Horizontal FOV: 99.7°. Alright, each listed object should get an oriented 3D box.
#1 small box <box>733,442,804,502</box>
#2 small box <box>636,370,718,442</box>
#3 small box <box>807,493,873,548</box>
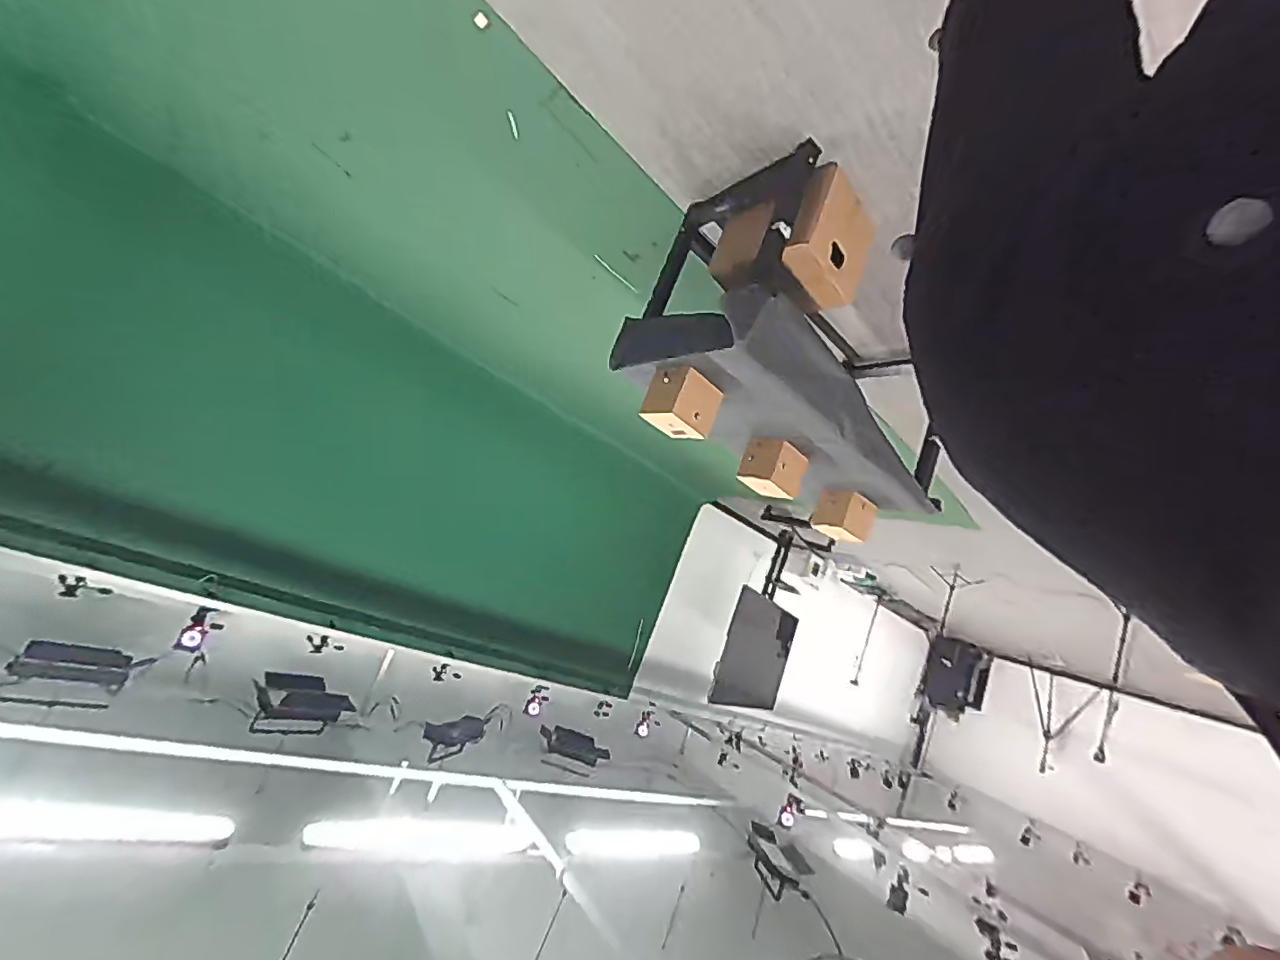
[{"bbox_3d":[0.486,-0.033,2.029,0.179,0.176,0.168,30,167,-37],"label":"small box"},{"bbox_3d":[0.124,-0.239,1.750,0.179,0.176,0.168,32,165,-38],"label":"small box"},{"bbox_3d":[0.836,0.164,2.256,0.179,0.176,0.168,30,166,-29],"label":"small box"}]
